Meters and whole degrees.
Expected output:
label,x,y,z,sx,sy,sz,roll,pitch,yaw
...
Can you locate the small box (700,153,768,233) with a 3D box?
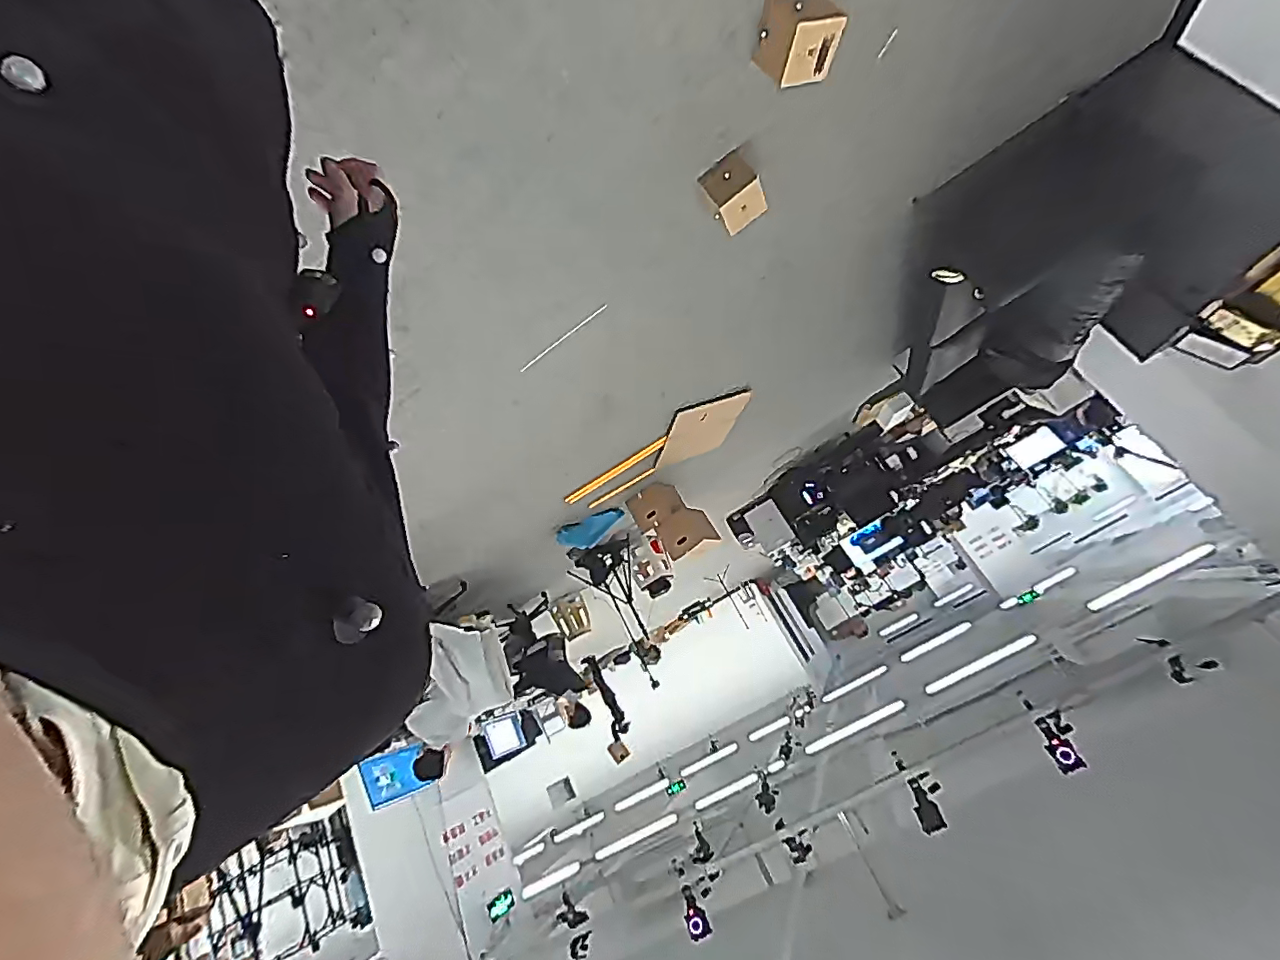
label,x,y,z,sx,sy,sz,roll,pitch,yaw
small box,0.345,-1.064,1.995,0.168,0.176,0.179,-34,158,15
